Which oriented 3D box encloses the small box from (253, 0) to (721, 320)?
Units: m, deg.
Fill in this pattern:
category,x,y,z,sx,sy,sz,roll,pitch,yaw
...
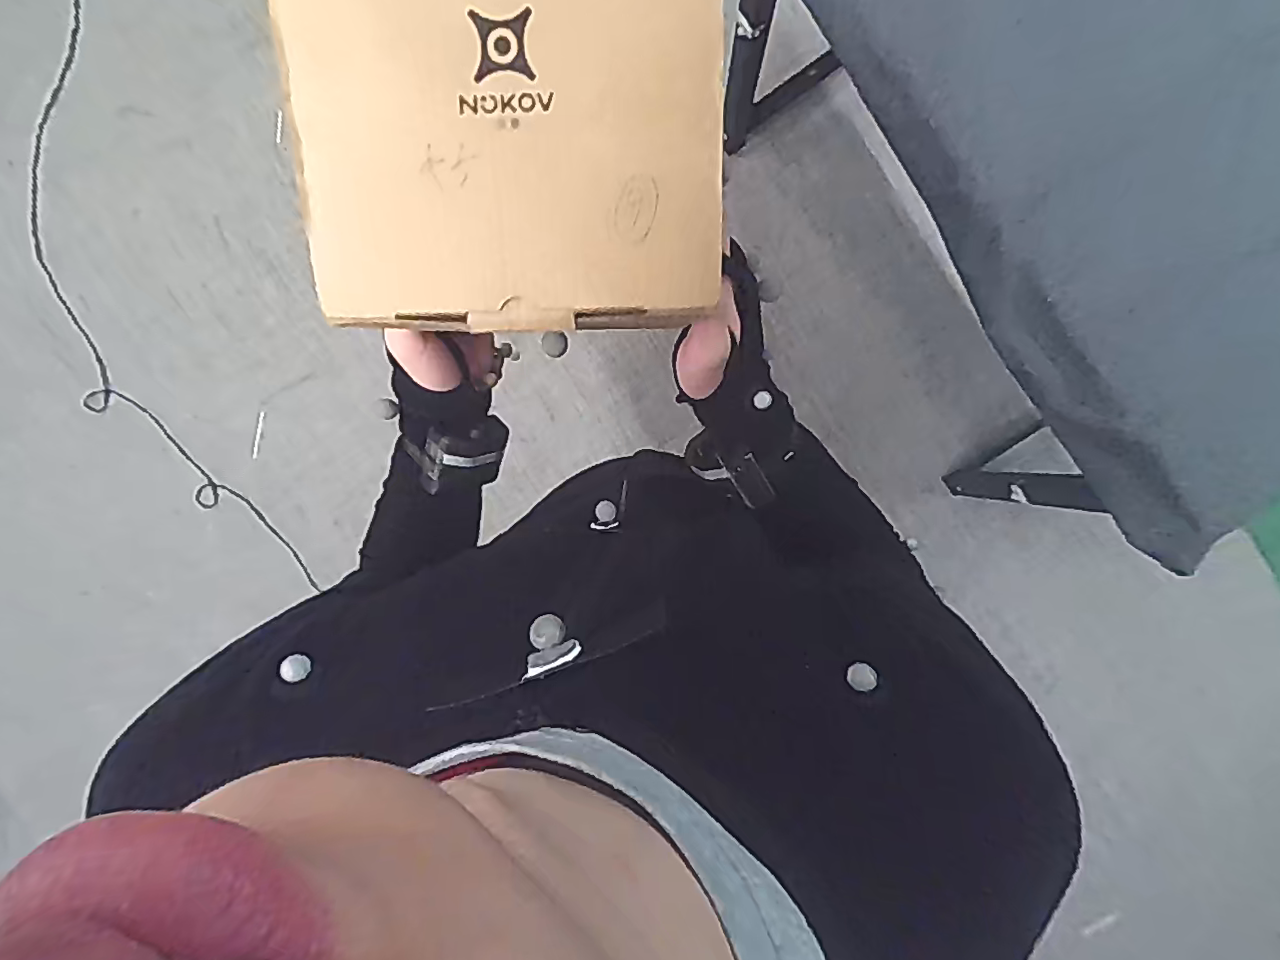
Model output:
category,x,y,z,sx,sy,sz,roll,pitch,yaw
small box,-0.054,-0.173,0.271,0.168,0.176,0.179,-2,105,-2
